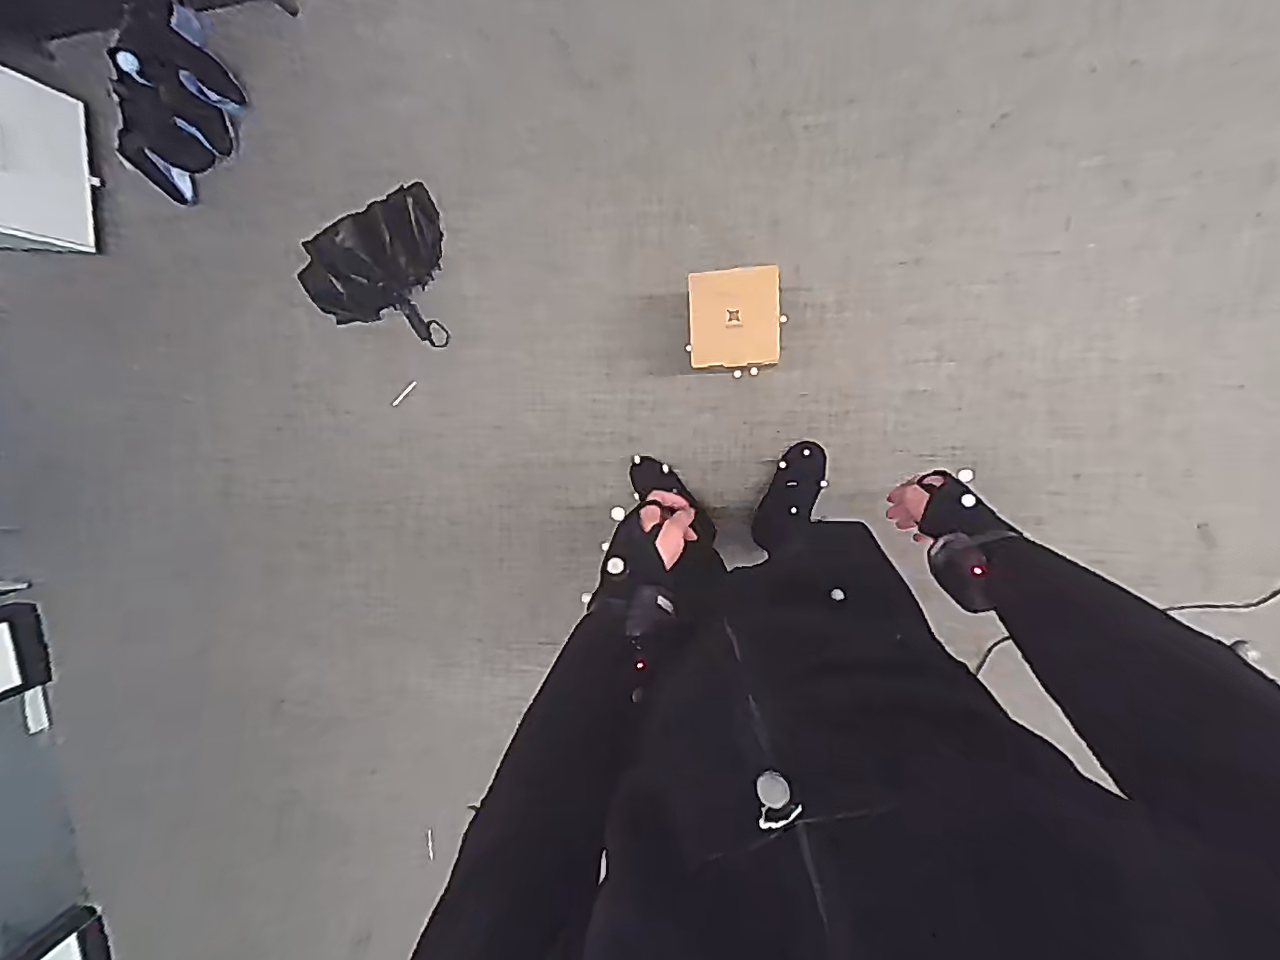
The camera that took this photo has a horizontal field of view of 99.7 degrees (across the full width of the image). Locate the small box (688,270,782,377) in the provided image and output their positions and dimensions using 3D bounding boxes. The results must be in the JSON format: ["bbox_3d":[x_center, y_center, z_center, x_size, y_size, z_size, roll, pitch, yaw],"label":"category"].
[{"bbox_3d":[0.186,-0.293,1.048,0.168,0.176,0.179,-2,98,11],"label":"small box"}]
